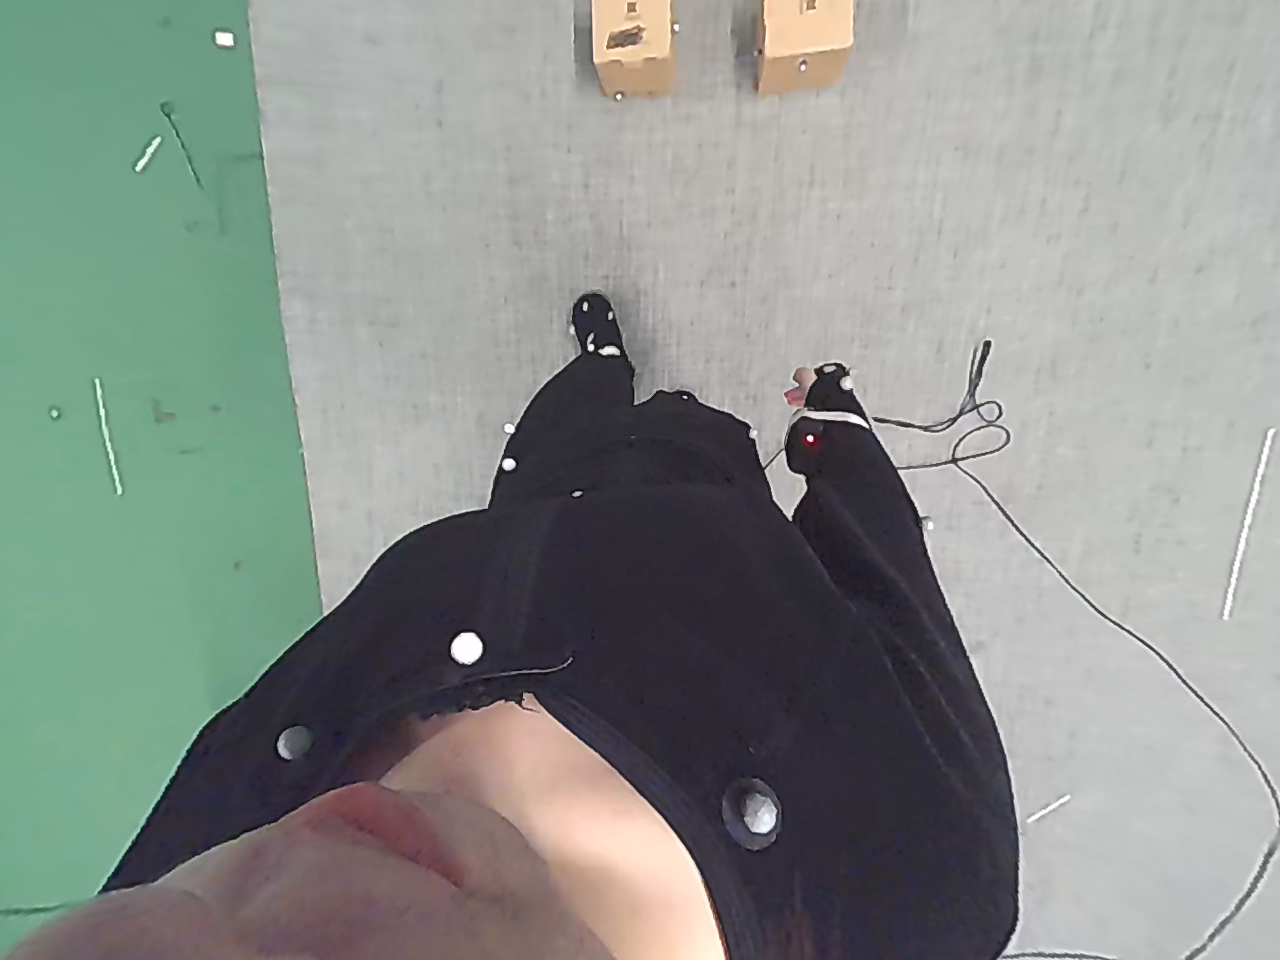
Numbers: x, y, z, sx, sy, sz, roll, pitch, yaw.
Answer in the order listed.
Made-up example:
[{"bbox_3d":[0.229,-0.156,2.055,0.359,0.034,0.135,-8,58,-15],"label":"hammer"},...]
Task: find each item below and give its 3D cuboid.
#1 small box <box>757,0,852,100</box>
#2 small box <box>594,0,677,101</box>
[{"bbox_3d":[0.345,-0.950,1.164,0.179,0.176,0.168,-1,103,7],"label":"small box"},{"bbox_3d":[-0.006,-0.974,1.204,0.168,0.176,0.179,2,102,7],"label":"small box"}]
